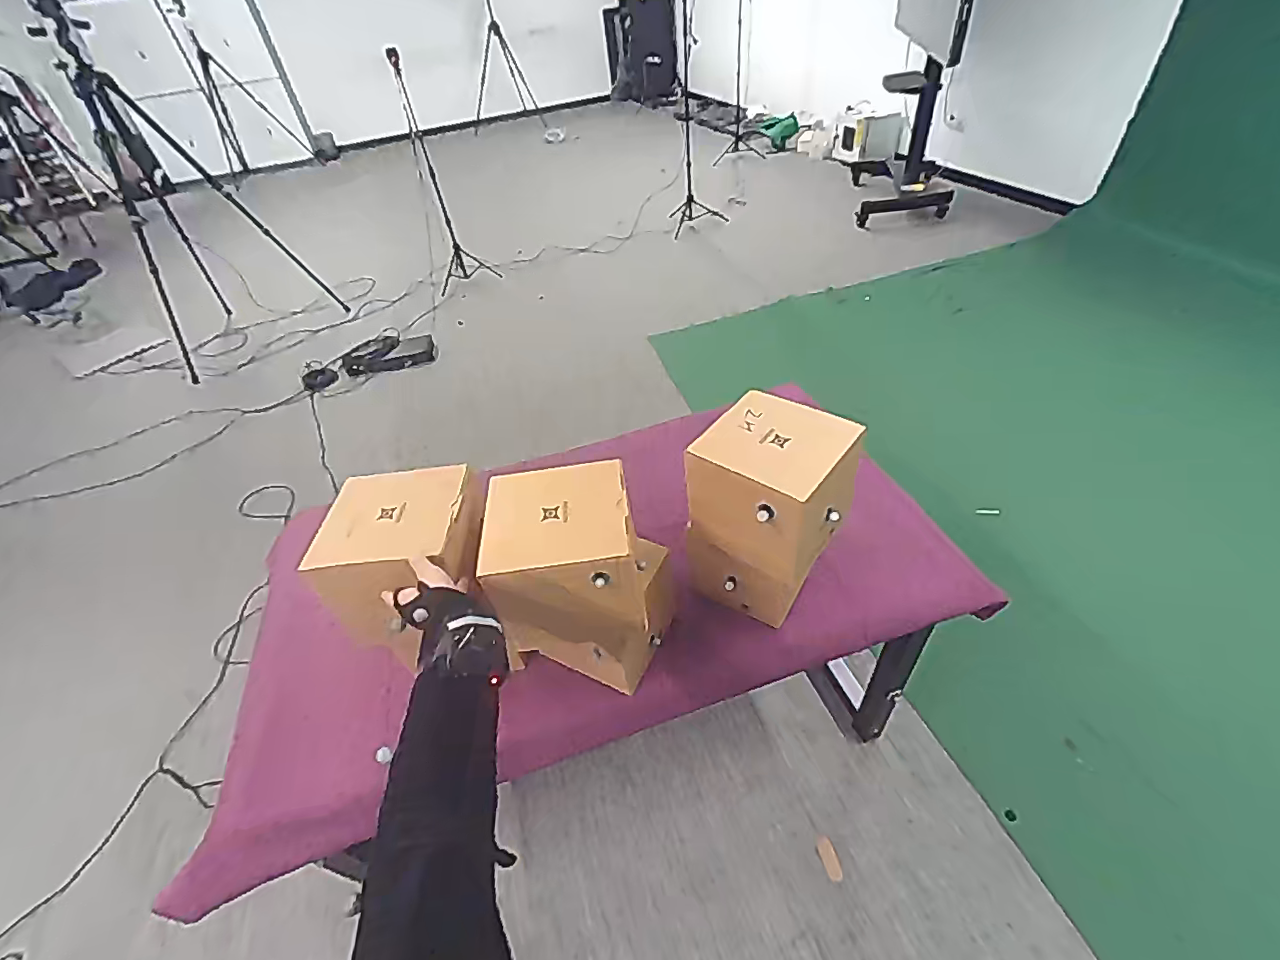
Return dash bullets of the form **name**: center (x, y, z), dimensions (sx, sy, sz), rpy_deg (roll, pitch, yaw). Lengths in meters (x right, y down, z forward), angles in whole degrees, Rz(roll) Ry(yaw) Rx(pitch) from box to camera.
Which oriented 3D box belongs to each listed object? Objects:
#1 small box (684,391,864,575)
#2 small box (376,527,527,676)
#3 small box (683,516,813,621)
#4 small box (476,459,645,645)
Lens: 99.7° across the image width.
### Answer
- **small box**: center (0.183, 0.007, 0.757), dimensions (0.179, 0.176, 0.168), rpy_deg (26, 52, 33)
- **small box**: center (-0.284, 0.197, 0.868), dimensions (0.179, 0.176, 0.168), rpy_deg (-7, 44, 0)
- **small box**: center (0.190, 0.101, 0.898), dimensions (0.168, 0.176, 0.179), rpy_deg (20, 51, 28)
- **small box**: center (-0.094, 0.097, 0.707), dimensions (0.179, 0.176, 0.168), rpy_deg (-8, 43, 0)
